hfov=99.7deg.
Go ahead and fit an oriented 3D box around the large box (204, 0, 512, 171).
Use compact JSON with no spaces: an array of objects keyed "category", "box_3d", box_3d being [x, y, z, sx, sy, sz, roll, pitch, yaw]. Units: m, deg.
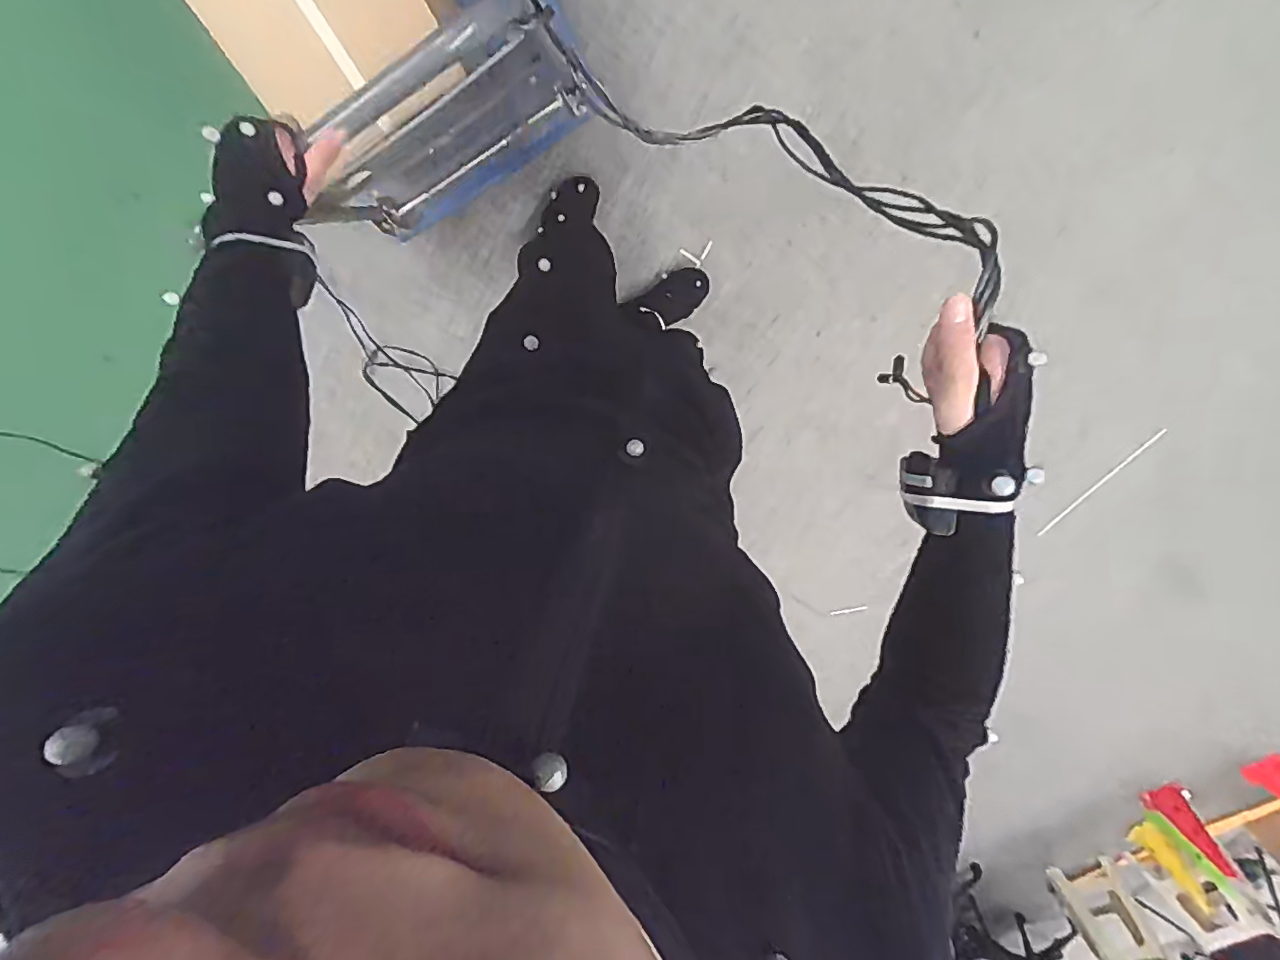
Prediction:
[{"category":"large box","box_3d":[-0.482,-0.806,0.912,0.320,0.320,0.408,-25,117,14]}]
